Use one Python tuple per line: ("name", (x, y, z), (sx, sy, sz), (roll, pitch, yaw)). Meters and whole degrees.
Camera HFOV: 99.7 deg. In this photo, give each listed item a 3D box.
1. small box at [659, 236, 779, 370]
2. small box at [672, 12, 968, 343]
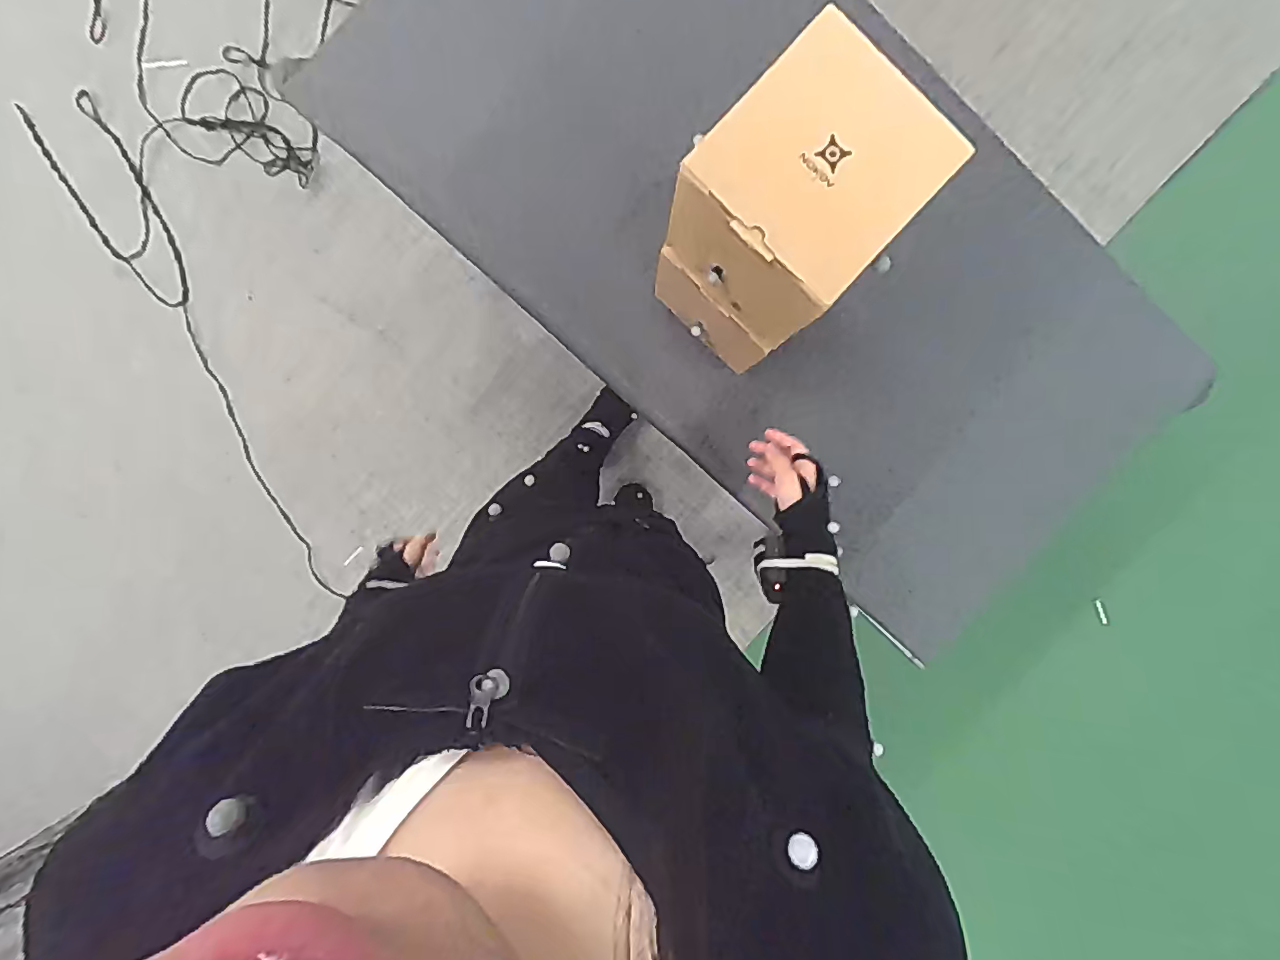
("small box", (0.137, -0.261, 0.672), (0.168, 0.176, 0.179), (43, 91, -3))
("small box", (0.146, -0.257, 0.510), (0.168, 0.176, 0.179), (43, 91, -4))
